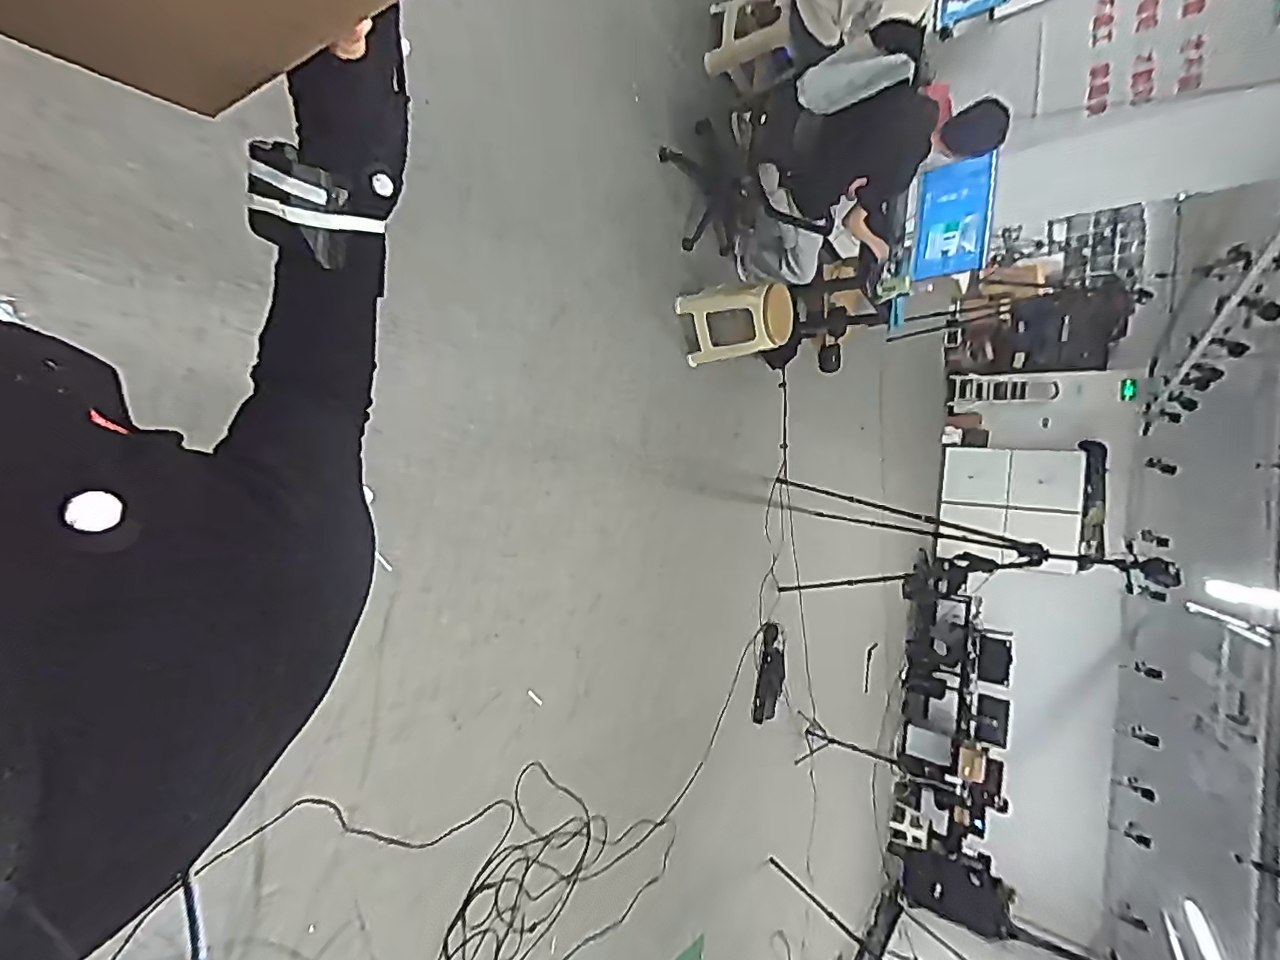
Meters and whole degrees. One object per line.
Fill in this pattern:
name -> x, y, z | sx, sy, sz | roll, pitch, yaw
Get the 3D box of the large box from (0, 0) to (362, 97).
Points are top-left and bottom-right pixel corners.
large box -> -0.275, -0.366, 0.104 | 0.408, 0.320, 0.320 | -4, 105, -53
